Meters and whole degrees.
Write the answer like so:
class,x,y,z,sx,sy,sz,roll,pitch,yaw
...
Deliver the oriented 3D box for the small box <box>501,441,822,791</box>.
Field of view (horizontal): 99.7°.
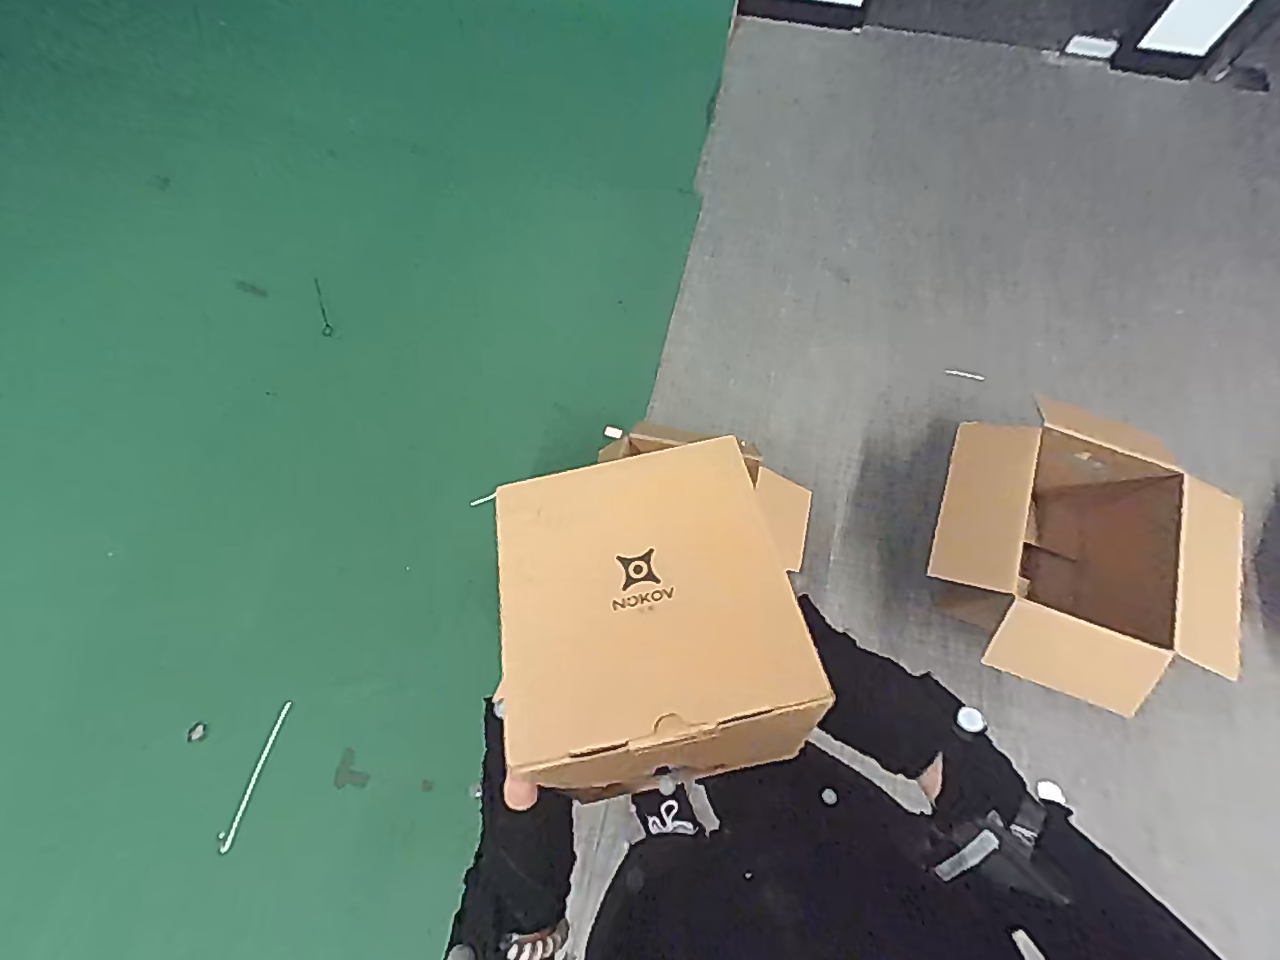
class,x,y,z,sx,sy,sz,roll,pitch,yaw
small box,0.008,0.103,0.387,0.168,0.176,0.179,-13,56,-1
